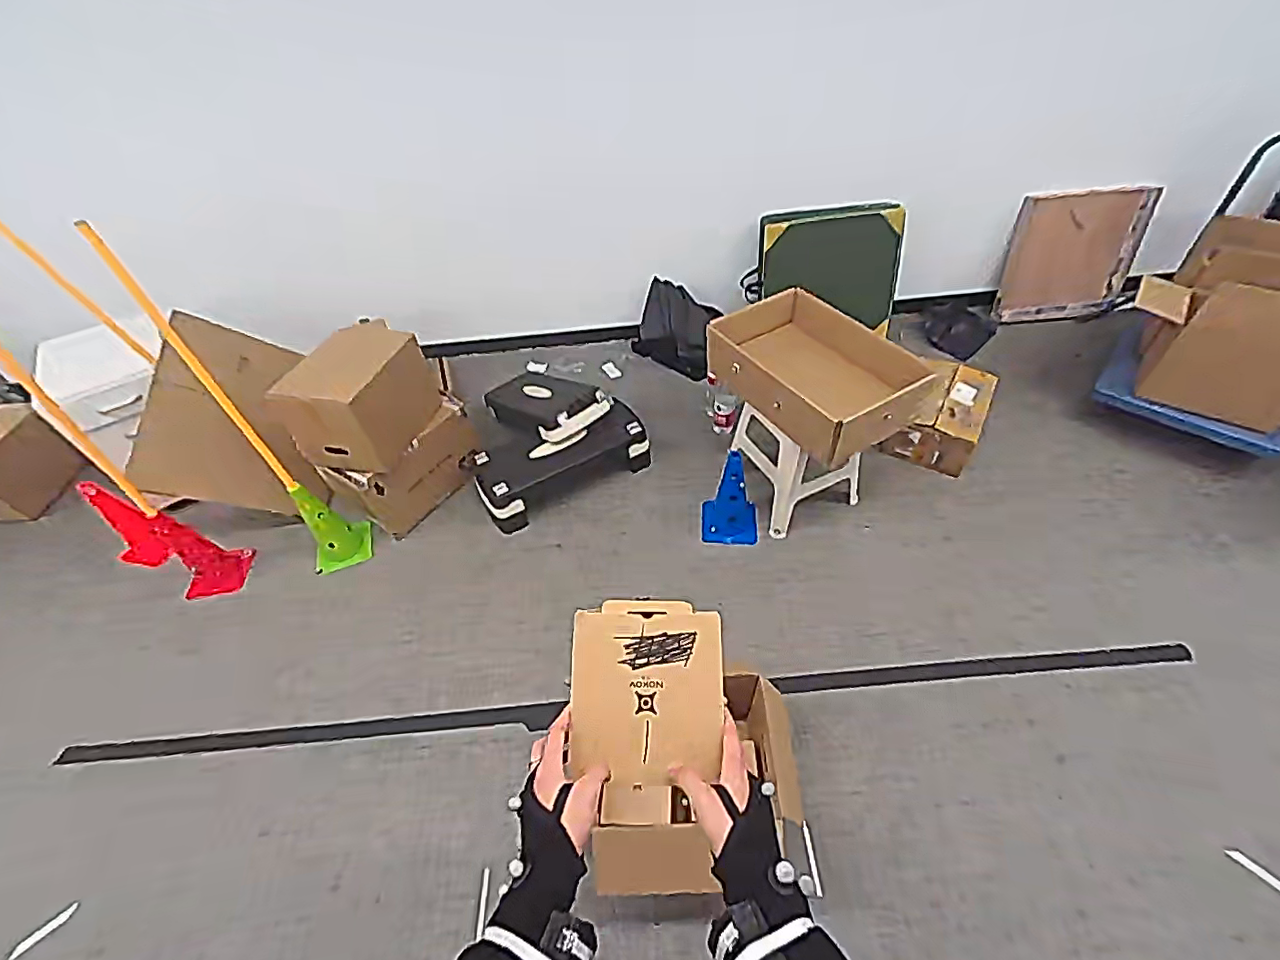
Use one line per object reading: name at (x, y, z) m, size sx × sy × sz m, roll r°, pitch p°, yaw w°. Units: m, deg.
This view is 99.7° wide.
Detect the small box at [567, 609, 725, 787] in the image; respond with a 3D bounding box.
small box at (0.006, 0.258, 0.654) m, size 0.168 × 0.176 × 0.179 m, roll 1°, pitch 69°, yaw -1°
